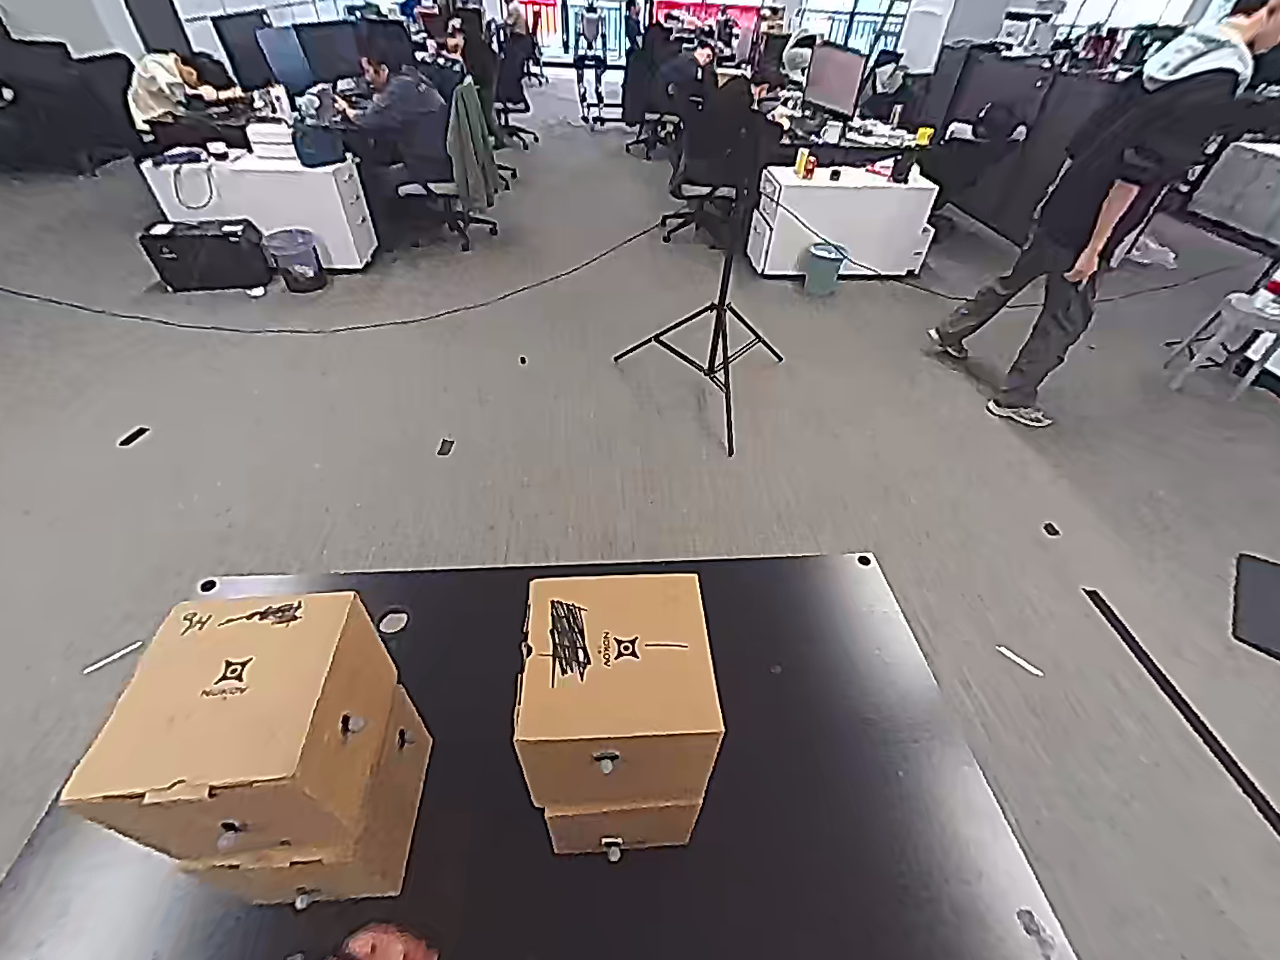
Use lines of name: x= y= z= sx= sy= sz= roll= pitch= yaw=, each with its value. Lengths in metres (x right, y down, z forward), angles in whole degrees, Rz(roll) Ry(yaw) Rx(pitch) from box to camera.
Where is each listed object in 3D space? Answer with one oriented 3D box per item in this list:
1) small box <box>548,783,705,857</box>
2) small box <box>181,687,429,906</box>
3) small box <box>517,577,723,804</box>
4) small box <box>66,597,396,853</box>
small box: x=-0.023 y=0.339 z=0.672 sx=0.168 sy=0.176 sz=0.179 roll=-3 pitch=44 yaw=-5
small box: x=-0.356 y=0.362 z=0.623 sx=0.168 sy=0.176 sz=0.179 roll=-1 pitch=43 yaw=-4
small box: x=-0.022 y=0.218 z=0.560 sx=0.179 sy=0.176 sz=0.168 roll=-1 pitch=43 yaw=-4
small box: x=-0.352 y=0.236 z=0.517 sx=0.168 sy=0.176 sz=0.179 roll=-2 pitch=44 yaw=-6
